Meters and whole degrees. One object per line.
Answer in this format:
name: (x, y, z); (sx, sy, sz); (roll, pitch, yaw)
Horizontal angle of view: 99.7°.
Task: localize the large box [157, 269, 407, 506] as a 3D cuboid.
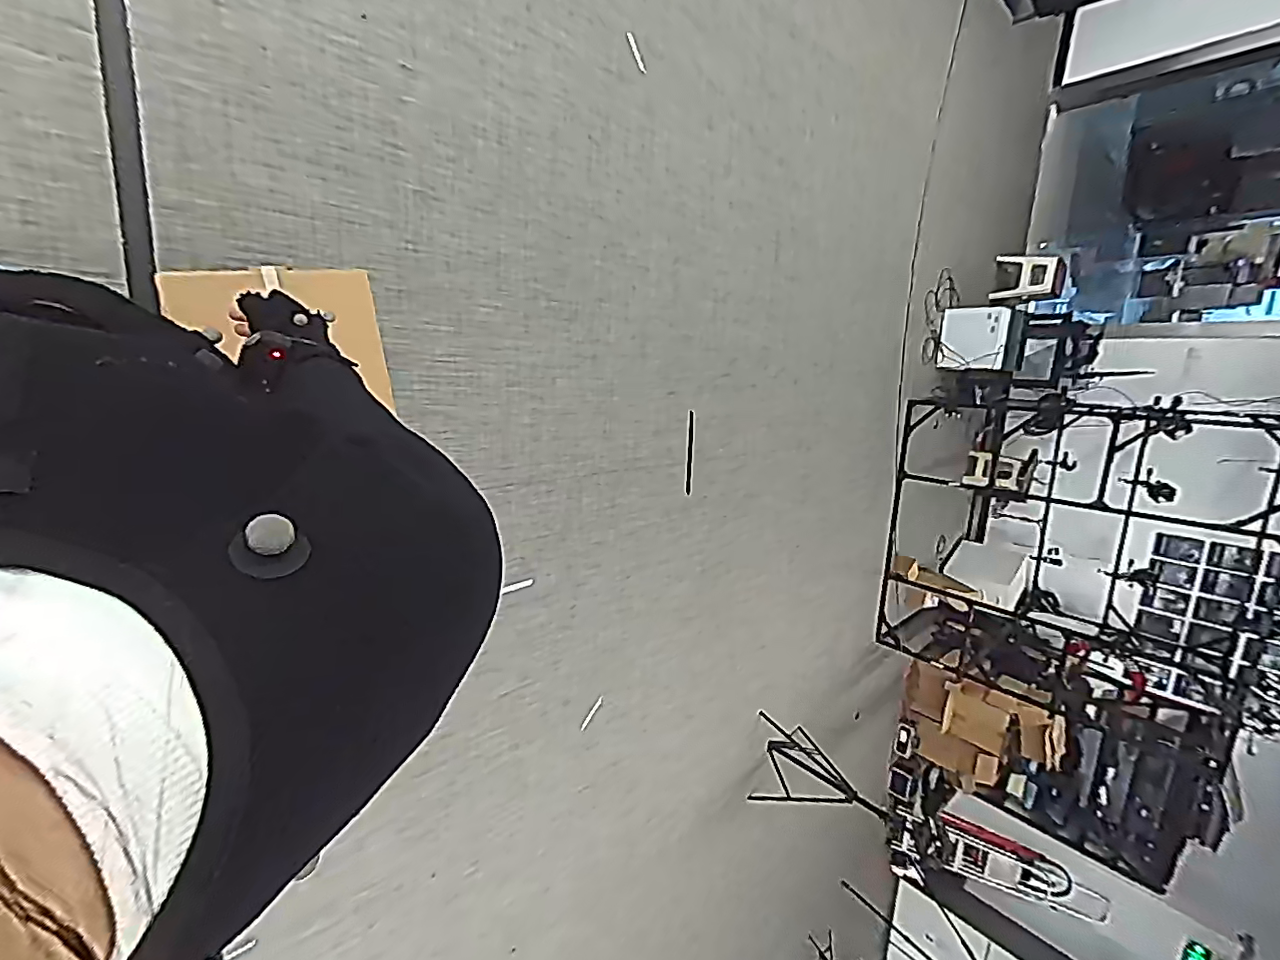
large box: (-0.718, -0.207, 1.112); (0.320, 0.320, 0.408); (-16, 111, -33)
